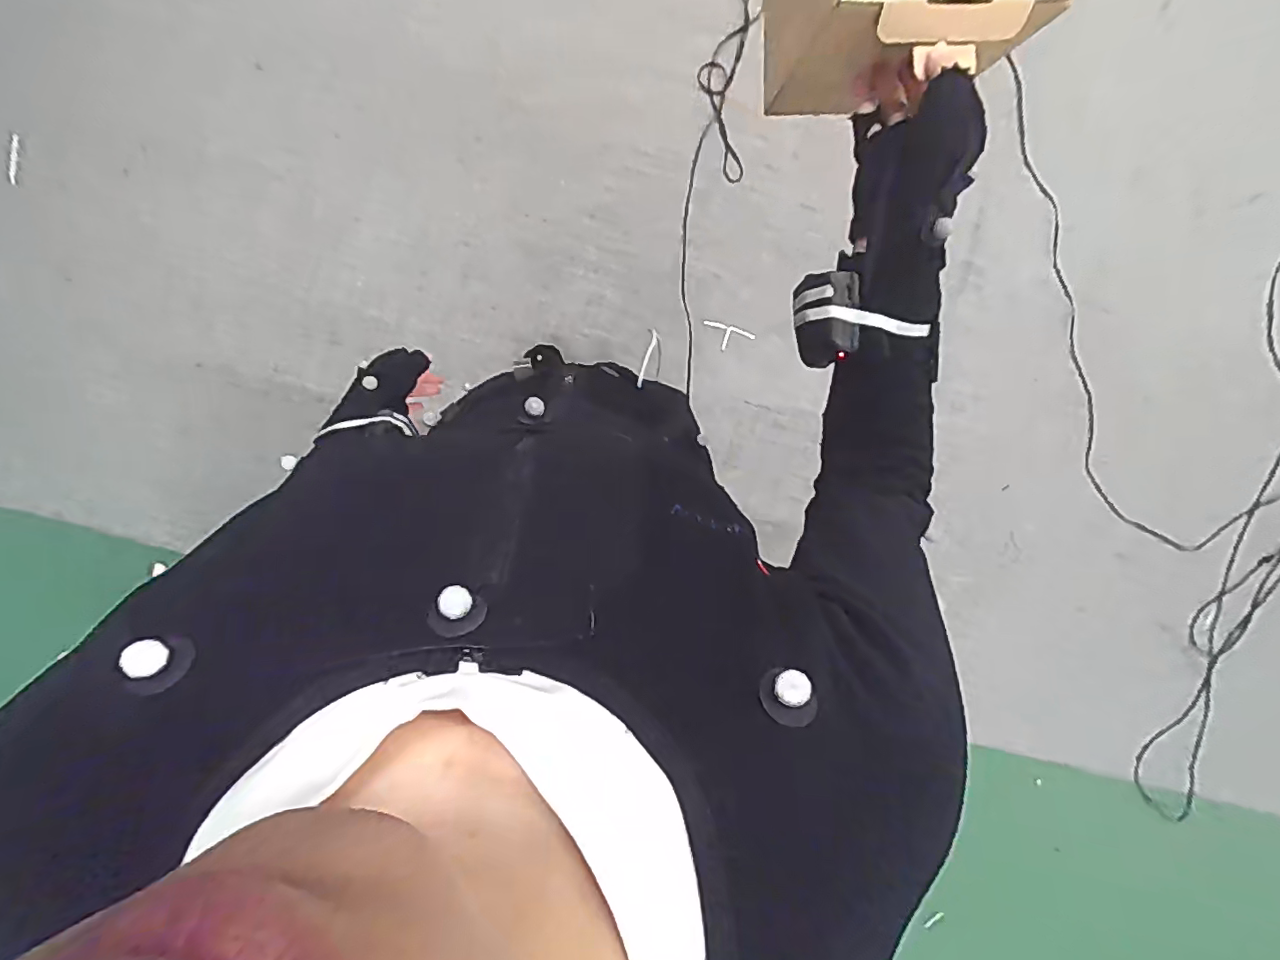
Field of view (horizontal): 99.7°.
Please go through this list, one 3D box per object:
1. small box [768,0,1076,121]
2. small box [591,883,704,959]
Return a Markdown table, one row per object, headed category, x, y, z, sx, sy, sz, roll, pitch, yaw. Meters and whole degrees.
| category | x | y | z | sx | sy | sz | roll | pitch | yaw |
| --- | --- | --- | --- | --- | --- | --- | --- | --- | --- |
| small box | 0.203 | -0.411 | 0.417 | 0.168 | 0.176 | 0.179 | -2 | 103 | -3 |
| small box | 0.008 | 0.788 | 0.850 | 0.168 | 0.176 | 0.179 | 7 | 102 | -4 |
